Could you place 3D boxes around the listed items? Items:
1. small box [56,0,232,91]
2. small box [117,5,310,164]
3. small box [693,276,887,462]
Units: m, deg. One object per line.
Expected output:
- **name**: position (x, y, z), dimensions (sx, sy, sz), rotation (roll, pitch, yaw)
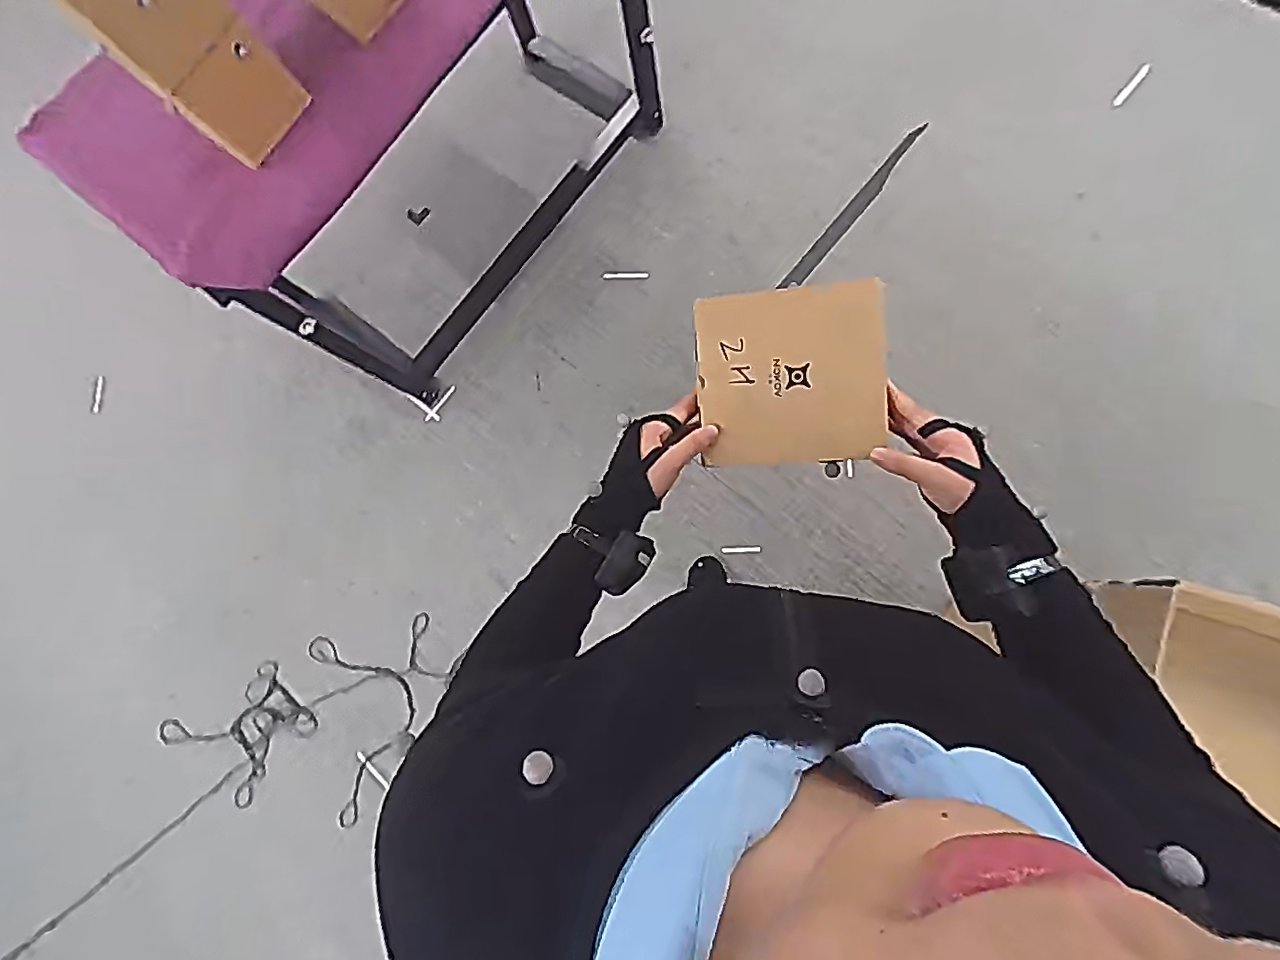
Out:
- **small box**: position (-0.754, -0.734, 0.792), dimensions (0.168, 0.176, 0.179), rotation (36, 87, 12)
- **small box**: position (-0.737, -0.709, 0.954), dimensions (0.168, 0.176, 0.179), rotation (36, 87, 12)
- **small box**: position (0.156, -0.107, 0.590), dimensions (0.179, 0.176, 0.168), rotation (-3, 91, 13)
